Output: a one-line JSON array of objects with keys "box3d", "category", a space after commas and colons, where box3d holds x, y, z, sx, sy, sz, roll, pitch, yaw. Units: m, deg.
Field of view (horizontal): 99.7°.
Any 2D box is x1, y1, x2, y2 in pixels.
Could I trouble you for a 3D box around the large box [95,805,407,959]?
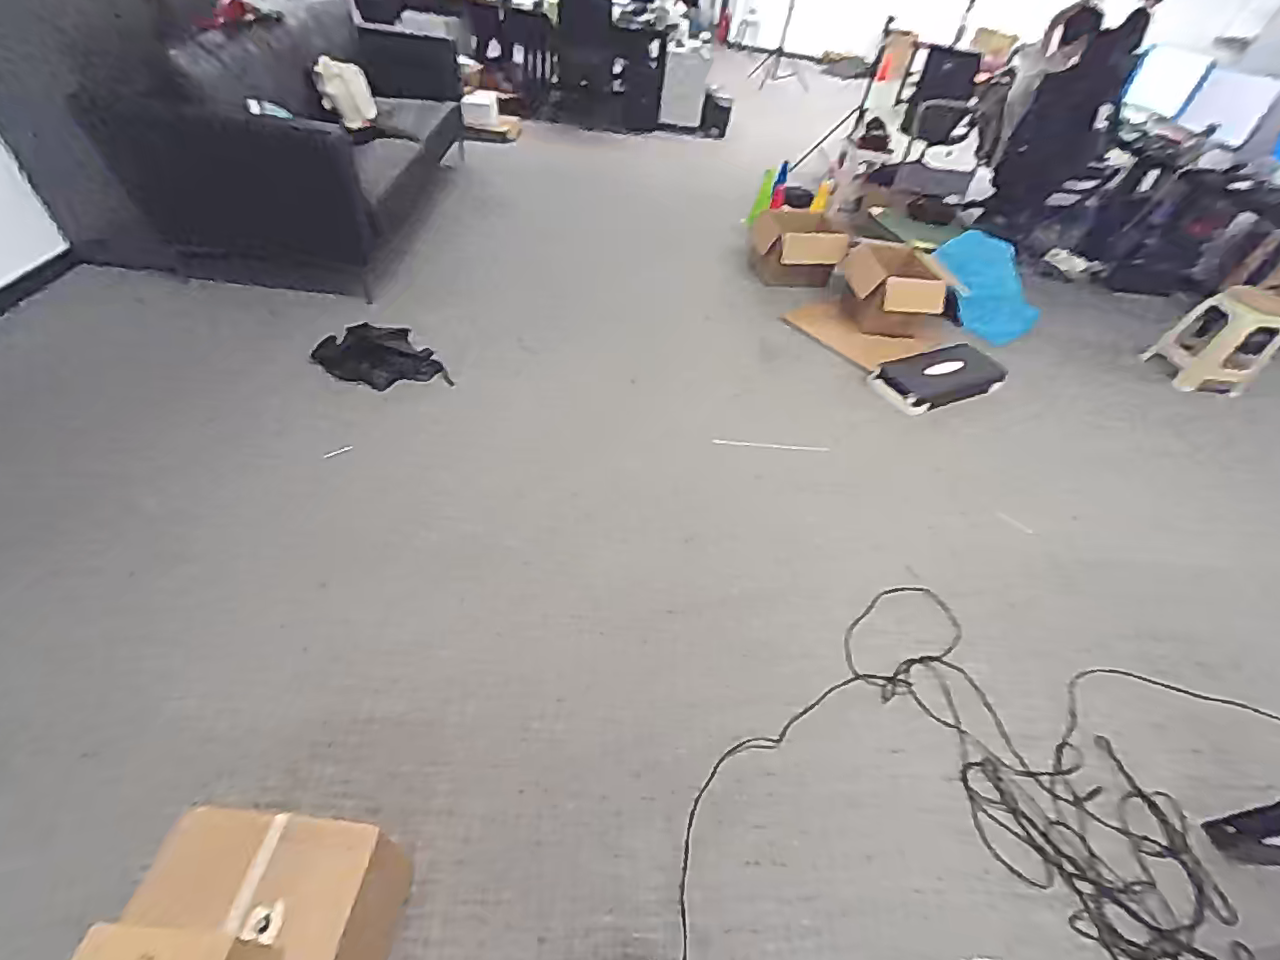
[{"box3d": [-0.607, 0.785, 0.834, 0.320, 0.320, 0.408, 8, 44, -2], "category": "large box"}]
